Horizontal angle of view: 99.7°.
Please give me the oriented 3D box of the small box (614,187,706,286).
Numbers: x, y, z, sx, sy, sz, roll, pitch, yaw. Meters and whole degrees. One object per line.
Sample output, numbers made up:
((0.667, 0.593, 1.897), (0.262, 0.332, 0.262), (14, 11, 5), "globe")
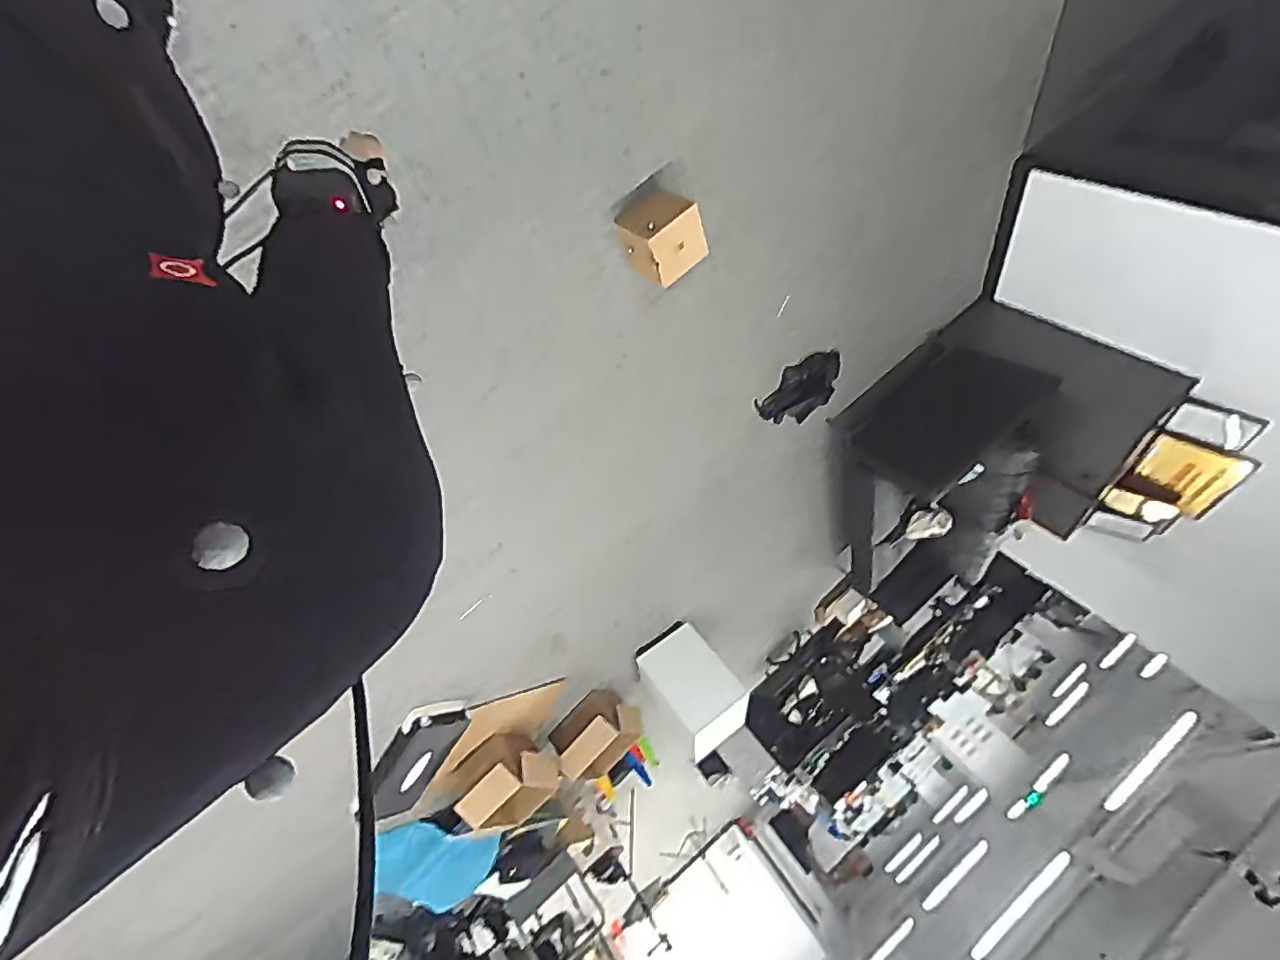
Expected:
((0.056, -0.695, 1.535), (0.179, 0.176, 0.168), (-40, 145, -6), "small box")
